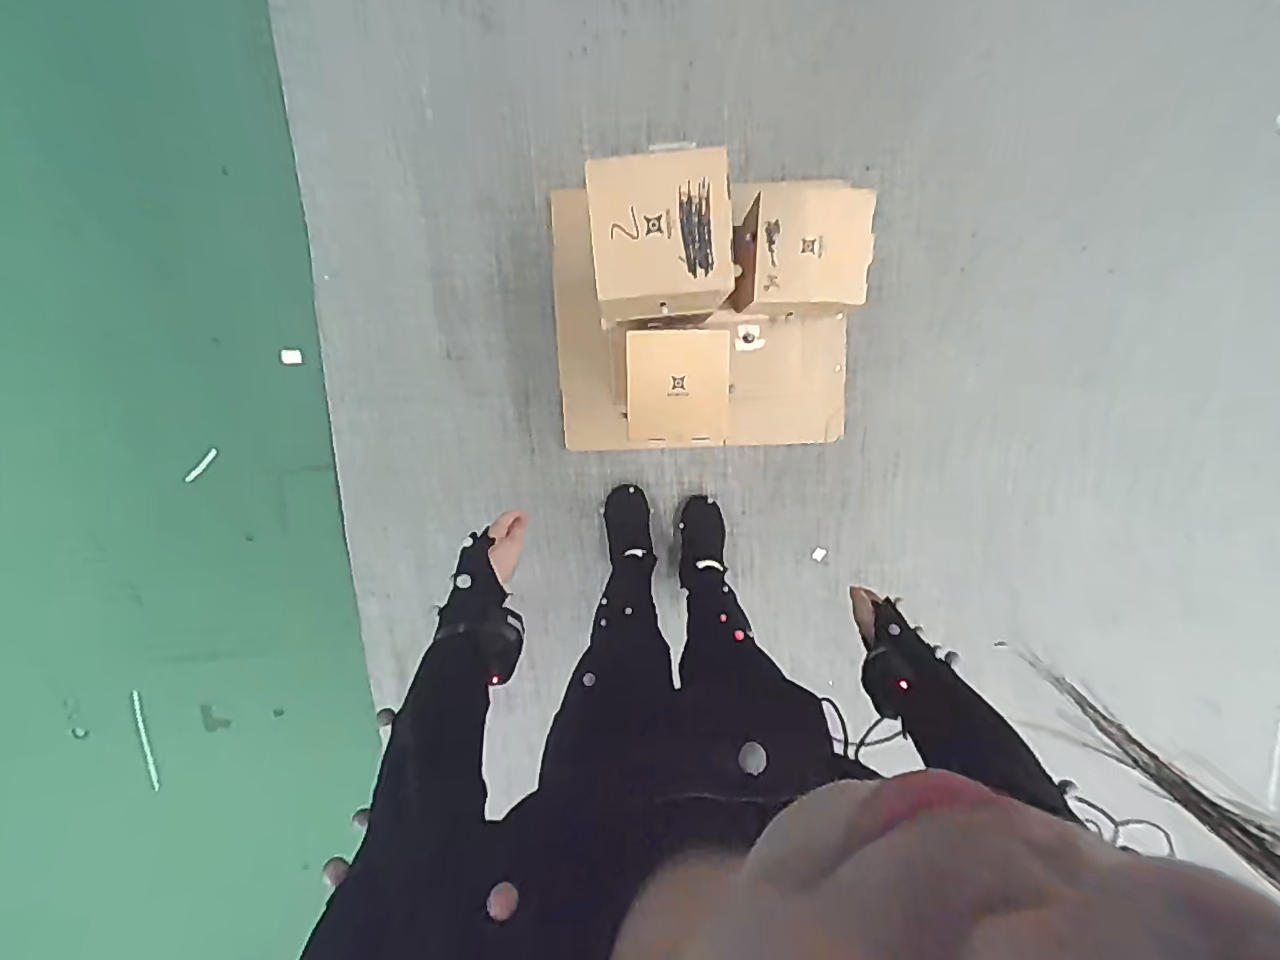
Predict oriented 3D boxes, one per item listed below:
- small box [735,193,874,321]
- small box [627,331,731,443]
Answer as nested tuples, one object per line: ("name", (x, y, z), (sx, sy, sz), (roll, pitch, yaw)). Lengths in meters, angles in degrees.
("small box", (0.263, -0.362, 0.902), (0.179, 0.176, 0.168), (2, 100, 1))
("small box", (0.060, -0.160, 0.937), (0.168, 0.176, 0.179), (-2, 101, -1))
